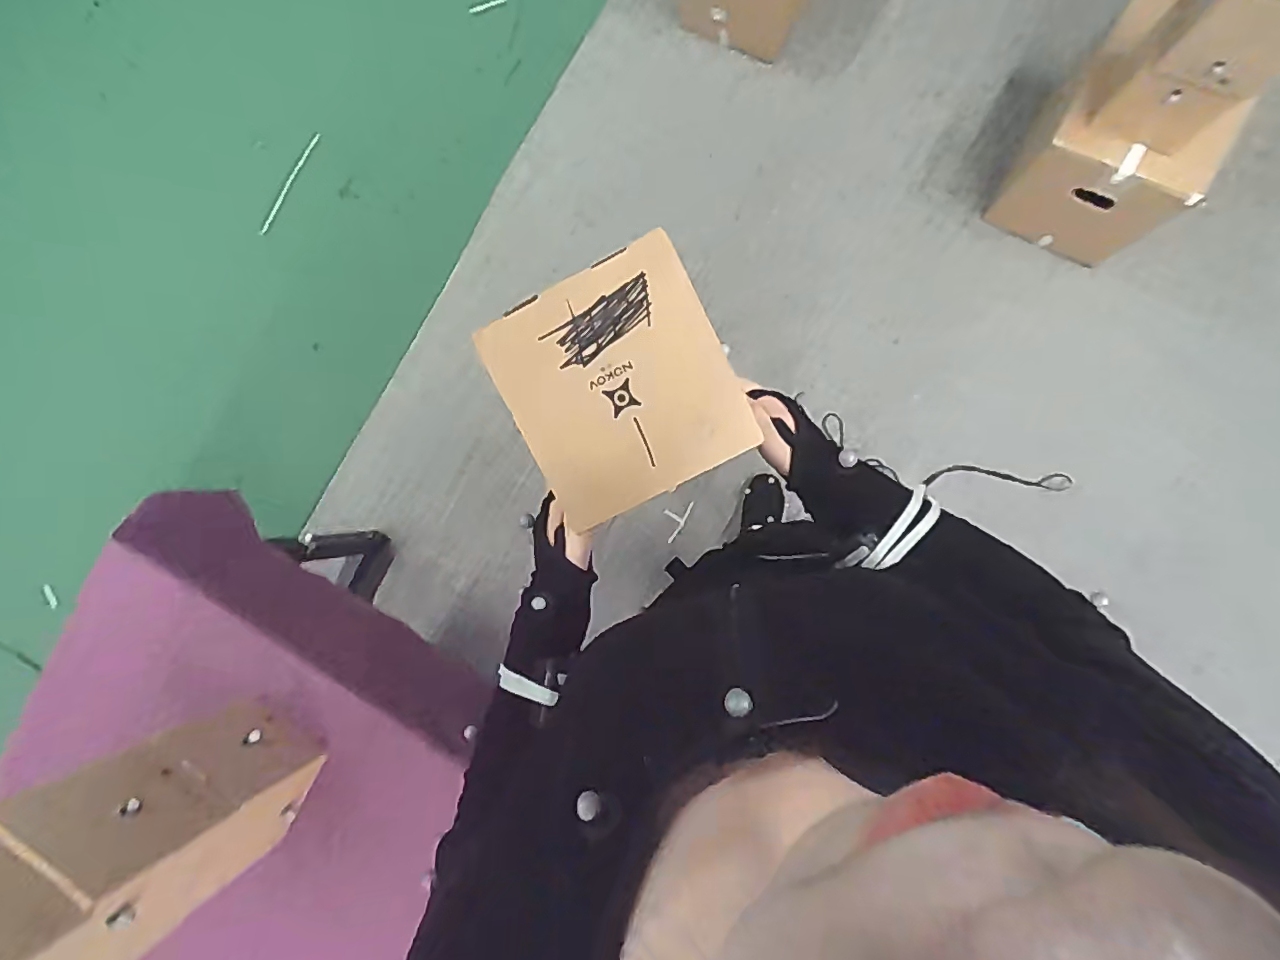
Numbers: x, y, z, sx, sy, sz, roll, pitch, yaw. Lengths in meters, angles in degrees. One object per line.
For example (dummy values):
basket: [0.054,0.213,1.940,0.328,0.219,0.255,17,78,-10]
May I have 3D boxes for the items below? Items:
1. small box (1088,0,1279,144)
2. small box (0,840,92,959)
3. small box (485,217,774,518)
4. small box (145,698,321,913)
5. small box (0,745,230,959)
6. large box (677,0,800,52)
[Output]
small box: [1.025,-0.783,1.027,0.179,0.176,0.168,28,92,10]
small box: [-0.652,0.451,0.463,0.179,0.176,0.168,29,93,7]
small box: [-0.004,-0.090,0.482,0.168,0.176,0.179,-26,96,7]
small box: [-0.611,0.453,0.789,0.168,0.176,0.179,29,92,8]
small box: [-0.631,0.450,0.625,0.168,0.176,0.179,29,93,8]
large box: [0.309,-1.450,1.398,0.320,0.320,0.408,29,91,8]
